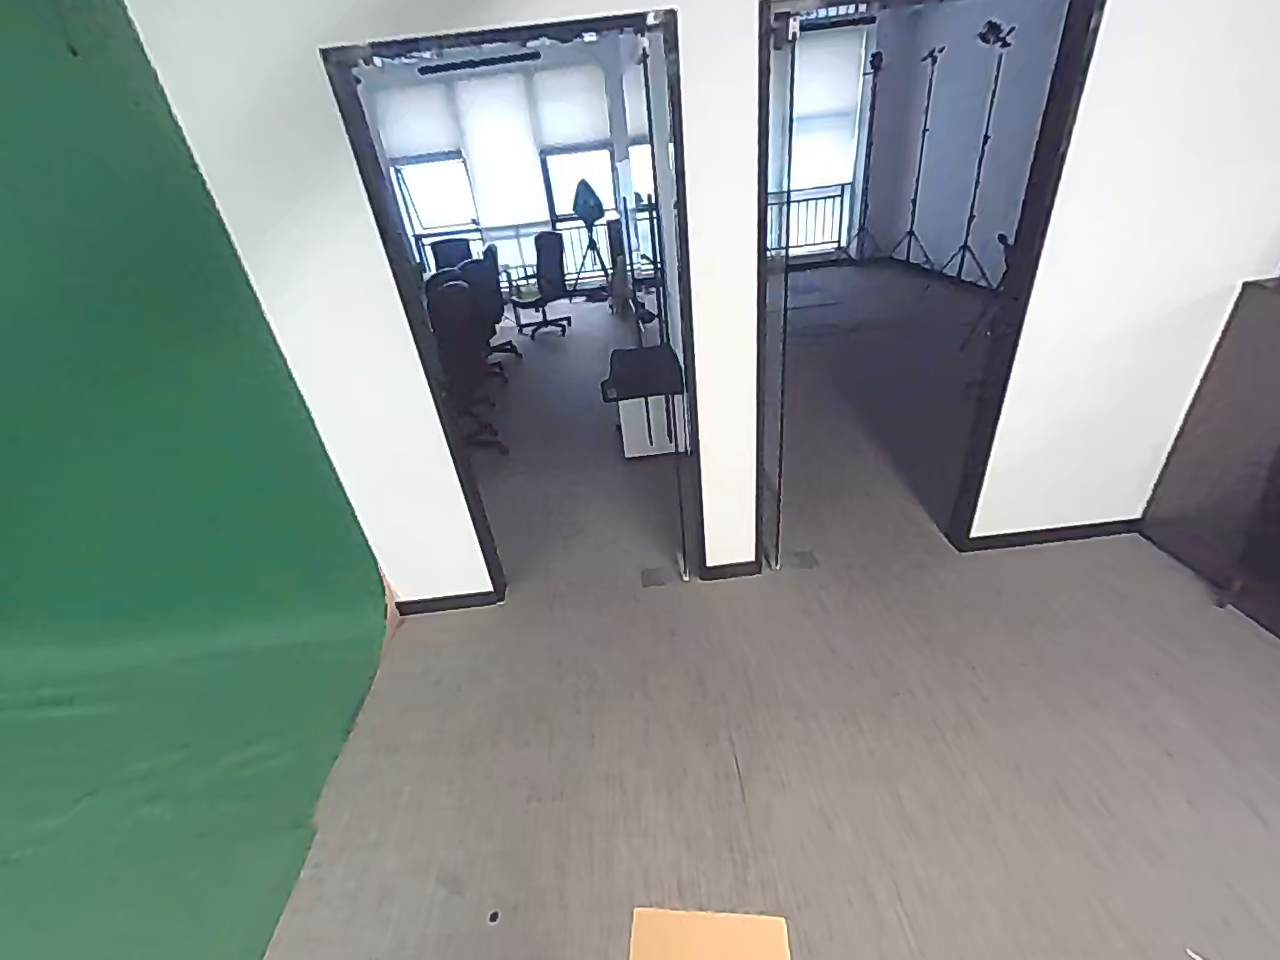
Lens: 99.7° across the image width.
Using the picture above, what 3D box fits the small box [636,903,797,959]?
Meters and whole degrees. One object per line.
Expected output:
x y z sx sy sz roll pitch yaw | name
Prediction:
0.076 0.576 0.545 0.168 0.176 0.179 -1 27 6 | small box
